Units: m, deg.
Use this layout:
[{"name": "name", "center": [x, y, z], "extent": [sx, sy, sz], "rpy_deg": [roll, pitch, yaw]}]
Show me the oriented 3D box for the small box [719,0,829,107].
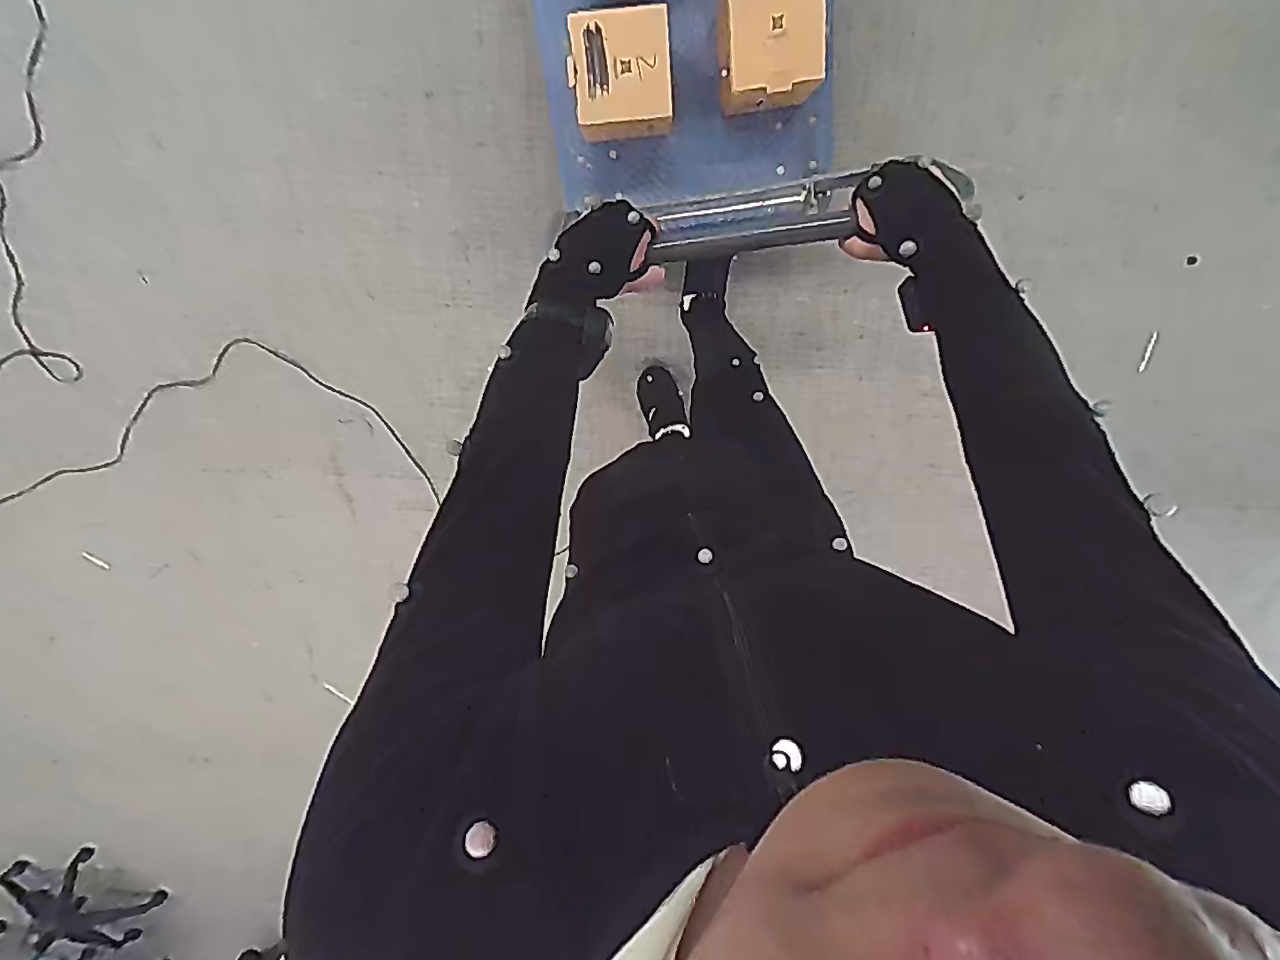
[{"name": "small box", "center": [0.241, -0.822, 0.998], "extent": [0.168, 0.176, 0.179], "rpy_deg": [-7, 113, 4]}]
